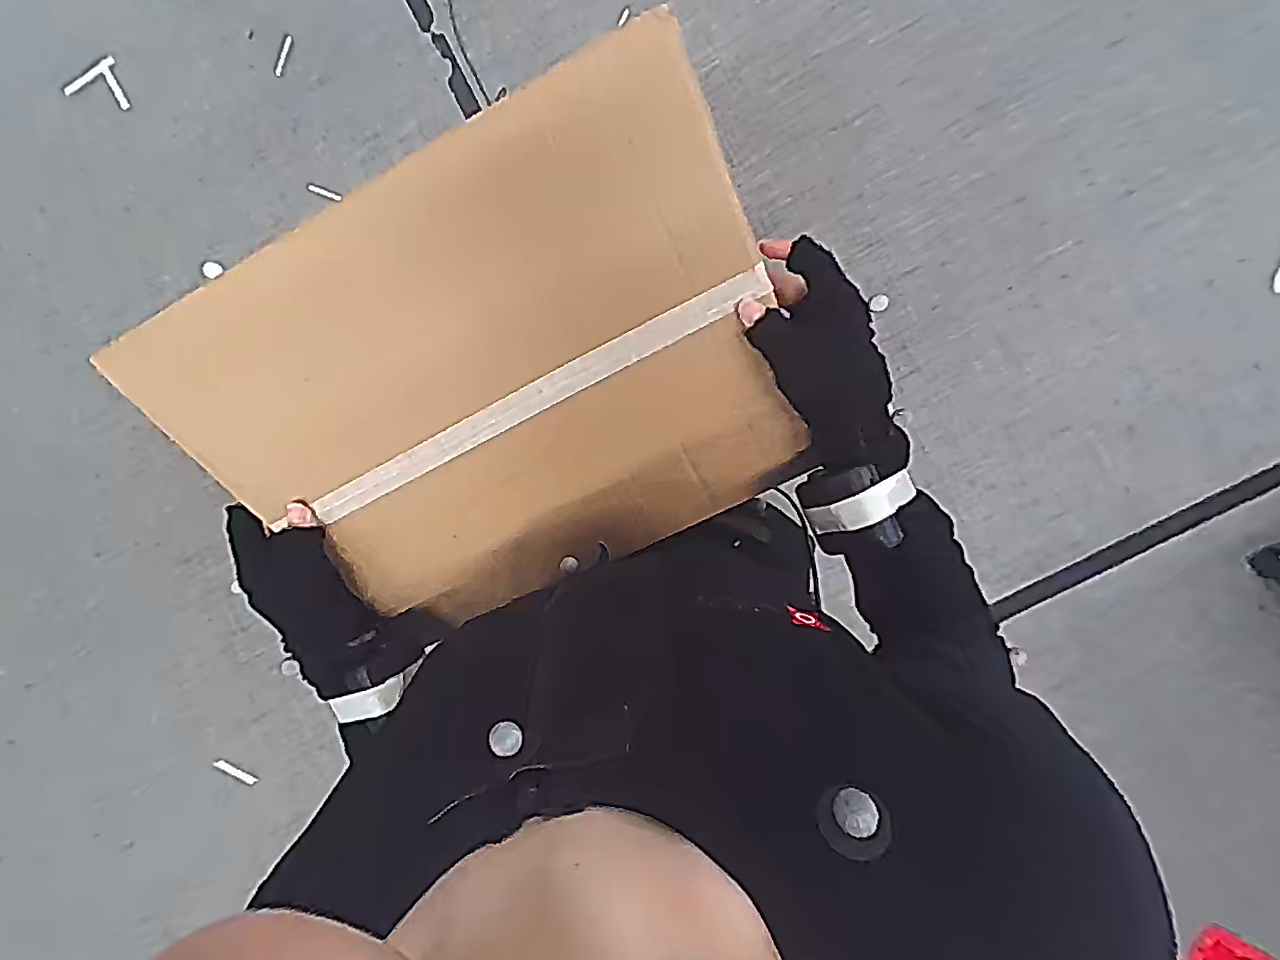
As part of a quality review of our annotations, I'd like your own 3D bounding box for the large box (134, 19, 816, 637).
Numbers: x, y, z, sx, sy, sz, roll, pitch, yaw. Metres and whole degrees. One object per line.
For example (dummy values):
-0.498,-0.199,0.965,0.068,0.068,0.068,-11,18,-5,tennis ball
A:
-0.112,-0.125,0.527,0.408,0.320,0.320,-26,120,9,large box
